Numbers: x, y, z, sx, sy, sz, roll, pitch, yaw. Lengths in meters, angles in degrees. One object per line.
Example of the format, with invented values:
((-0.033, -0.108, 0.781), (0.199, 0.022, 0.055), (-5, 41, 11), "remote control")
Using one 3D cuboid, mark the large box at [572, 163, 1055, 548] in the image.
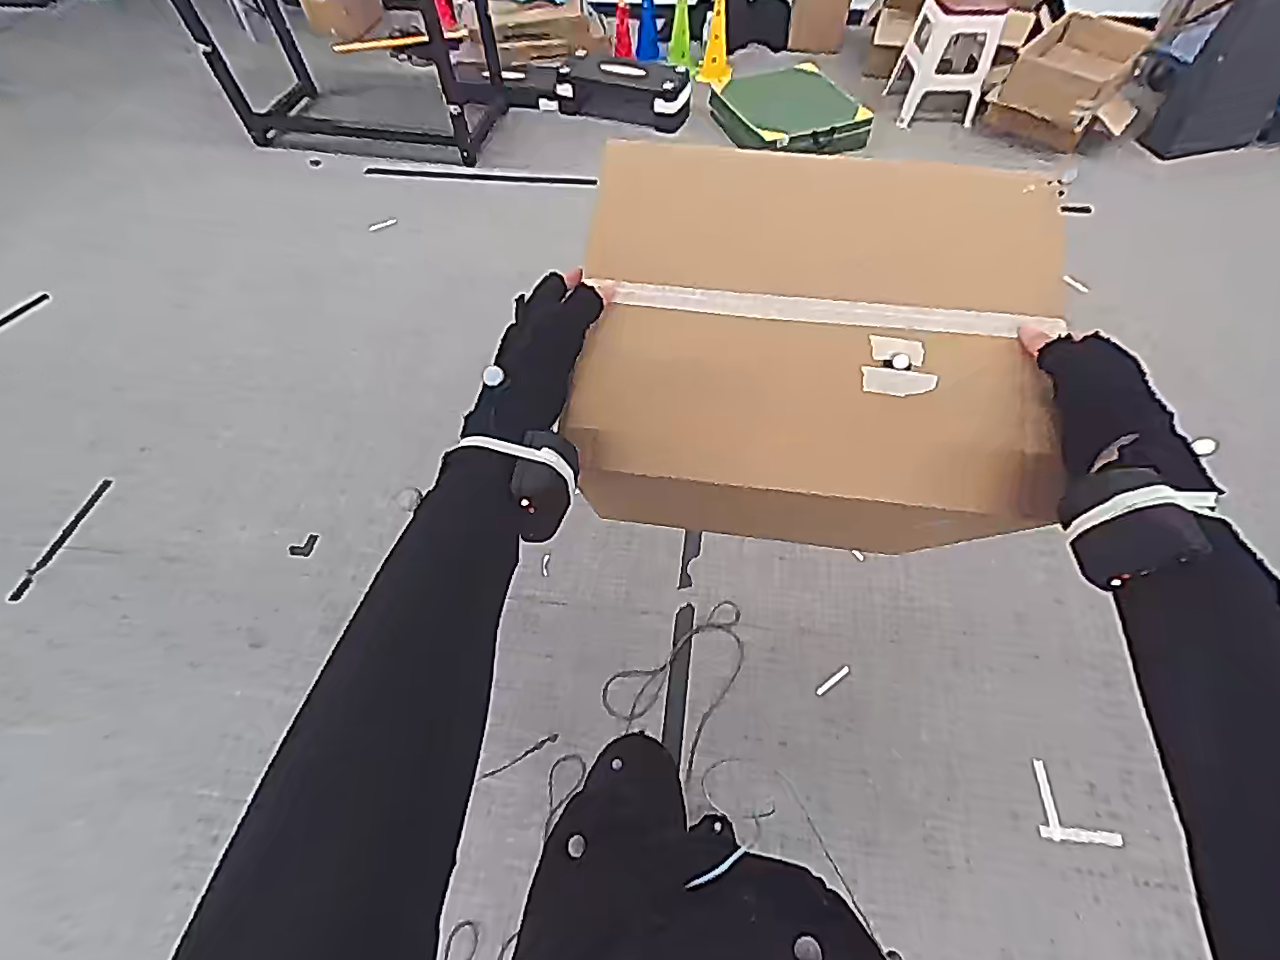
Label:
((0.158, -0.107, 0.621), (0.408, 0.320, 0.320), (7, 79, 4), "large box")
